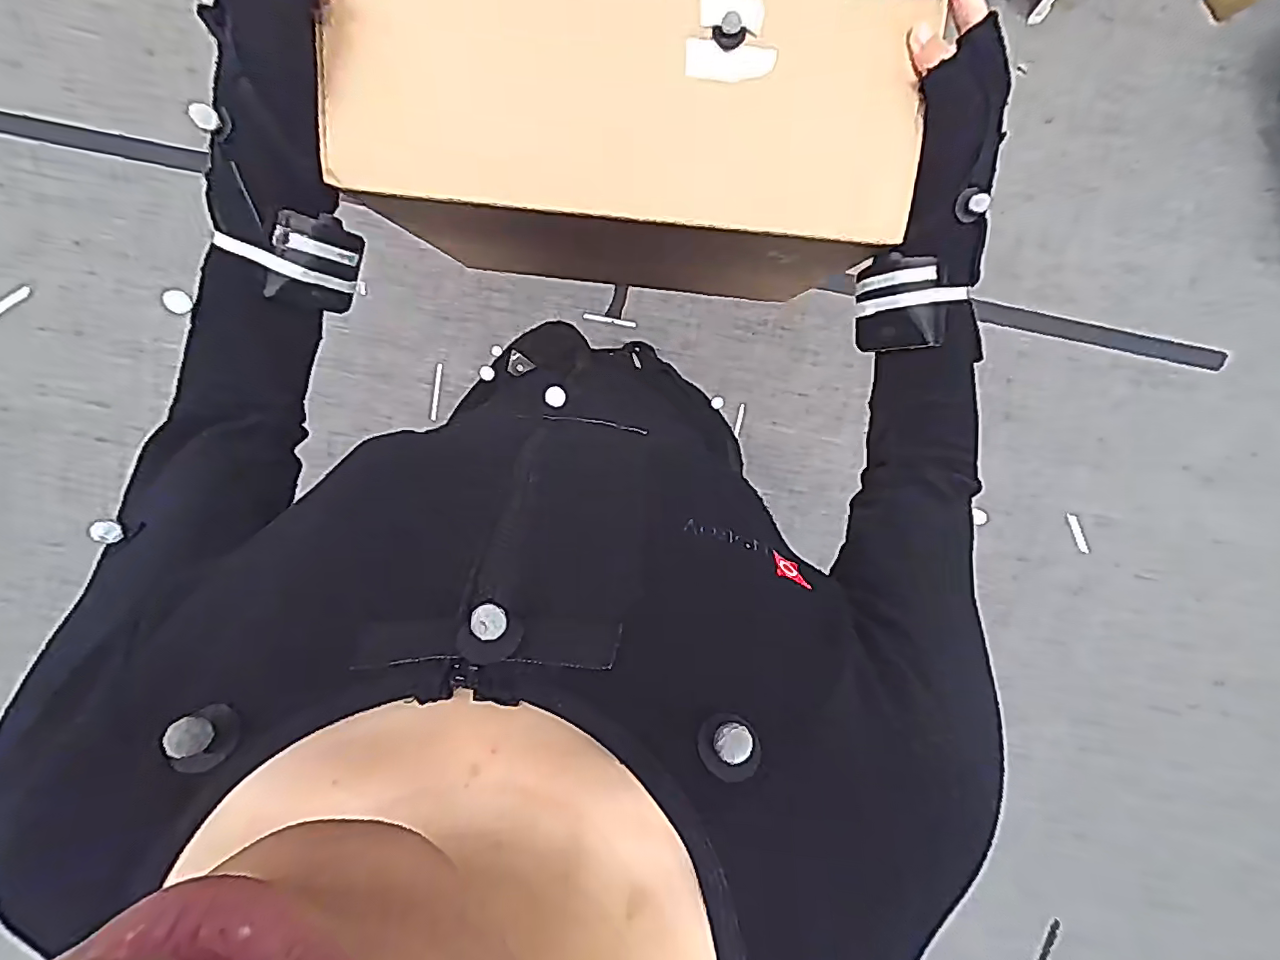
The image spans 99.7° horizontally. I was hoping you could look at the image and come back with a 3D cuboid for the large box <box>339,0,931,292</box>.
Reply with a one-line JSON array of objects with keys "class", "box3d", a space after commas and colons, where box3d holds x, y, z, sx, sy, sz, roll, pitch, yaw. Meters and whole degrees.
[{"class": "large box", "box3d": [-0.002, -0.374, 0.504, 0.408, 0.320, 0.320, 5, 101, -1]}]
